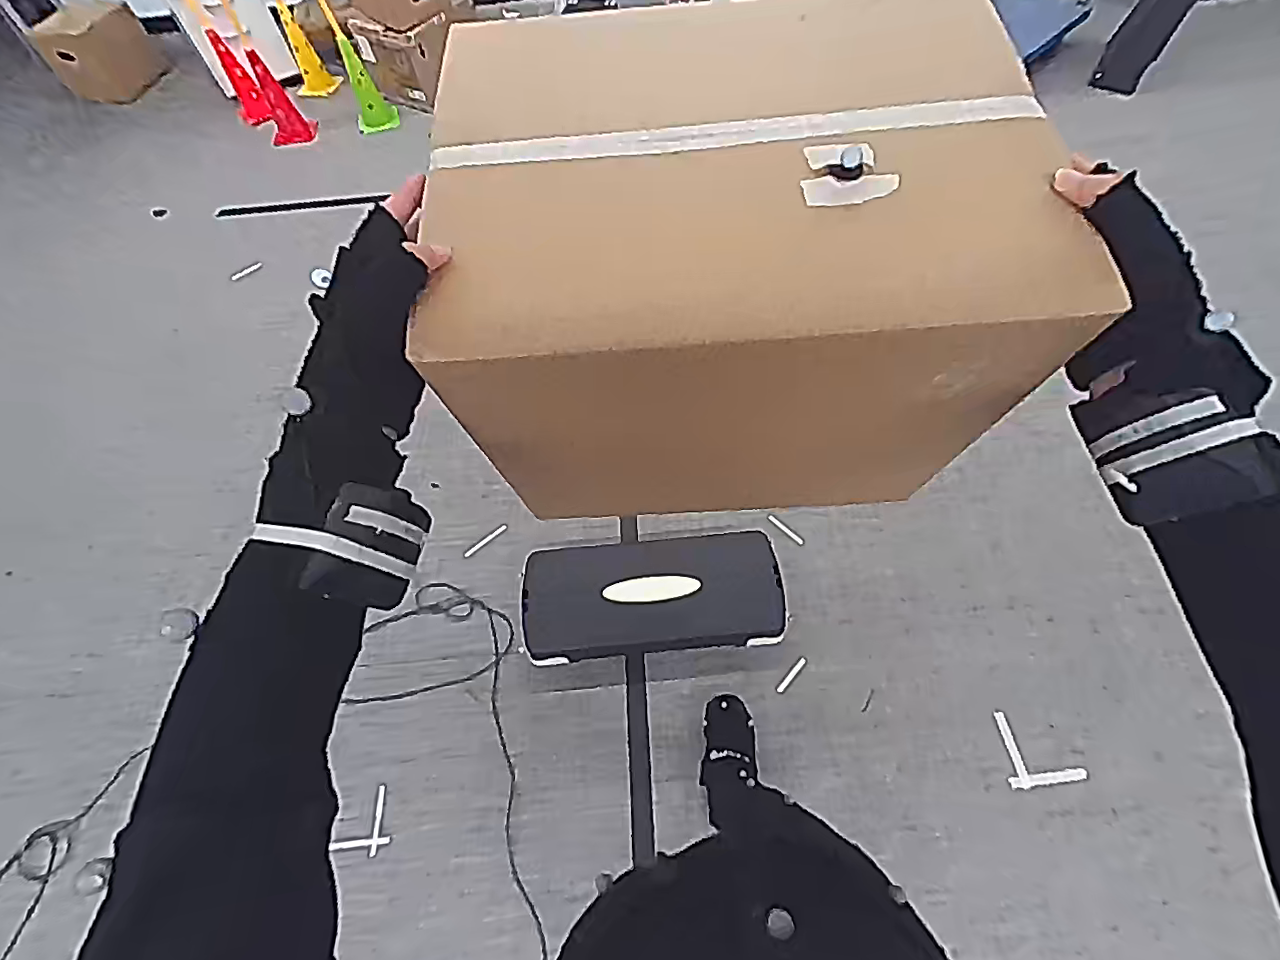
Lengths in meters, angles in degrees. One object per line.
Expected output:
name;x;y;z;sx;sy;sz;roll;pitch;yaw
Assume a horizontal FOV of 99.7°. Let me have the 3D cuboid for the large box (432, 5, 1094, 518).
large box;0.067;-0.166;0.513;0.408;0.320;0.320;-4;69;1
